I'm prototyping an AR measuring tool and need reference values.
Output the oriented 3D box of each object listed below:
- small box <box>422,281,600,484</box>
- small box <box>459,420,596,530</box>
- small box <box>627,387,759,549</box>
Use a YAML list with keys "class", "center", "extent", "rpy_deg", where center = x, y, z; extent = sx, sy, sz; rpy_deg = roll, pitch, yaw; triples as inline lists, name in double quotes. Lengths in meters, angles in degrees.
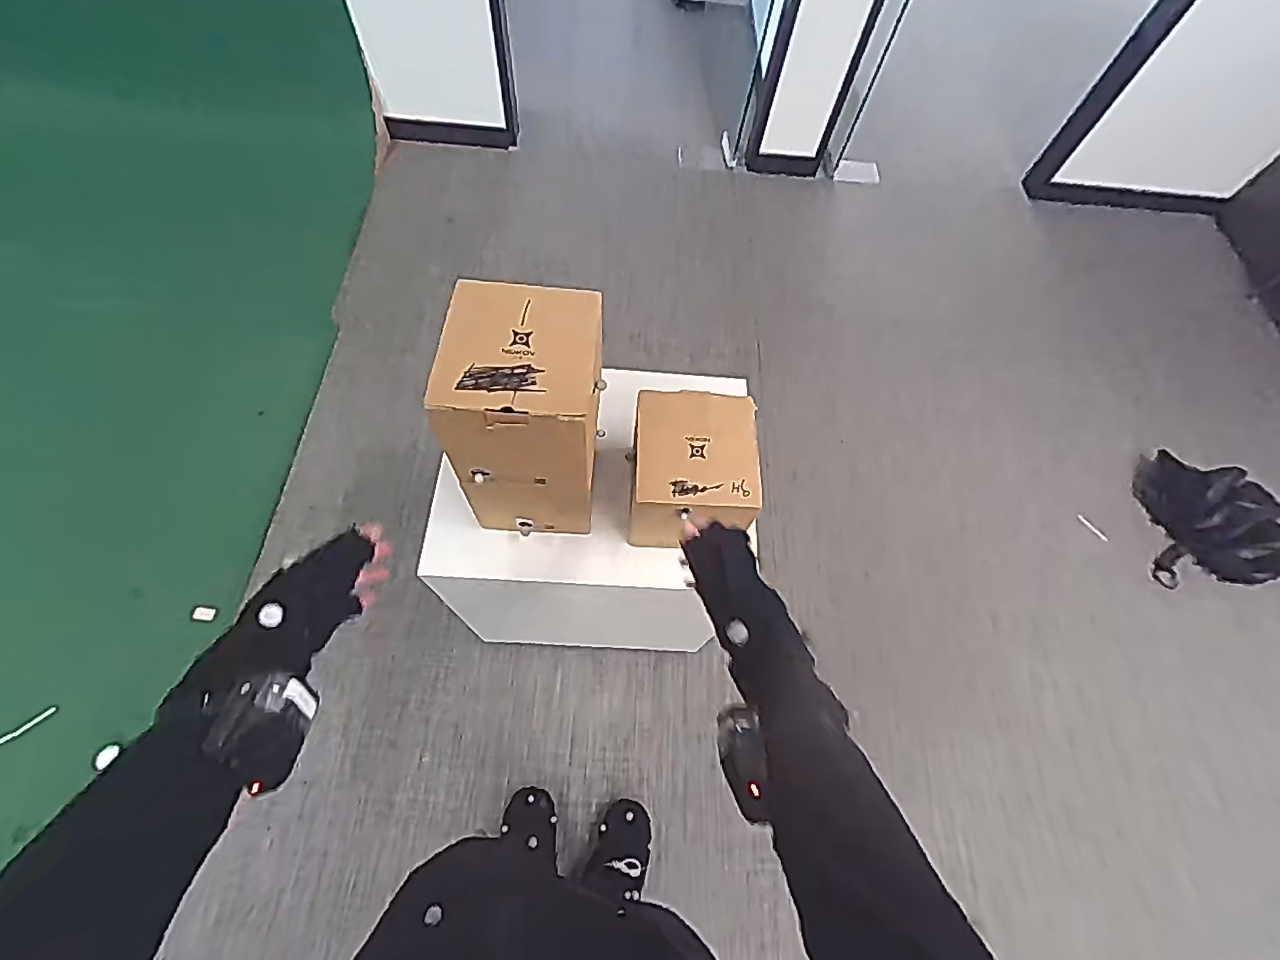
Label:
- class: "small box"
  center: [-0.137, -0.107, 0.648]
  extent: [0.168, 0.176, 0.179]
  rpy_deg: [4, 62, -2]
- class: "small box"
  center: [-0.149, -0.040, 0.781]
  extent: [0.168, 0.176, 0.179]
  rpy_deg: [2, 65, -4]
- class: "small box"
  center: [0.069, -0.013, 0.799]
  extent: [0.168, 0.176, 0.179]
  rpy_deg: [3, 63, -3]
